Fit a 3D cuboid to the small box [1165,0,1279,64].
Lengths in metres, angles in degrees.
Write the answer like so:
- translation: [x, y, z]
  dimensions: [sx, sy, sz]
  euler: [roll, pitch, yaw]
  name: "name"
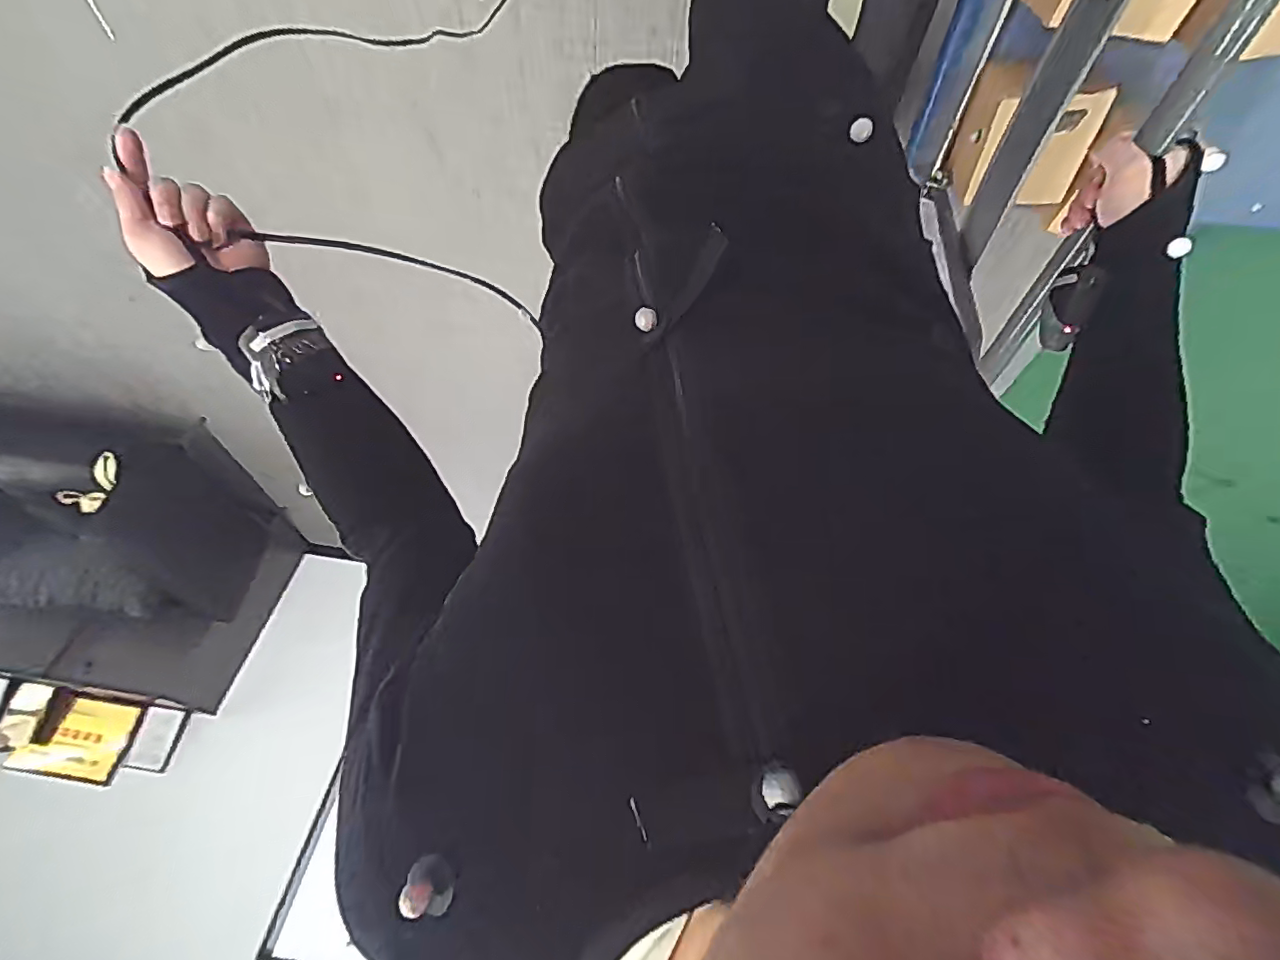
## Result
- translation: [0.901, -0.720, 0.754]
  dimensions: [0.179, 0.176, 0.168]
  euler: [0, 144, 15]
  name: "small box"
